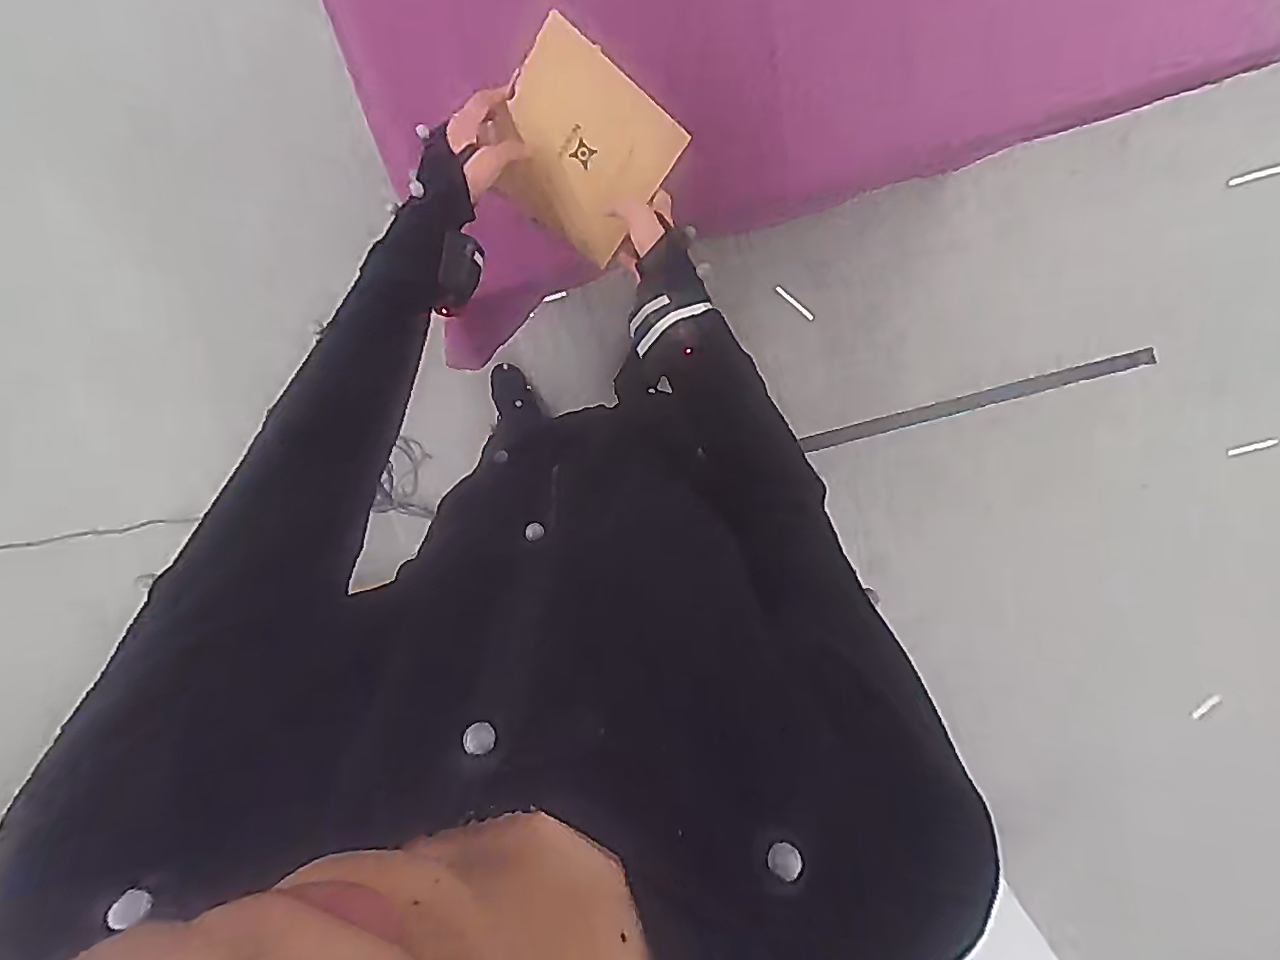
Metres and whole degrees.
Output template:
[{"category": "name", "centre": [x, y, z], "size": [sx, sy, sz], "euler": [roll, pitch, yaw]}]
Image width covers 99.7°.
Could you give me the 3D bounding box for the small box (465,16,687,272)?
[{"category": "small box", "centre": [-0.071, -0.372, 0.633], "size": [0.179, 0.176, 0.168], "euler": [33, 110, -19]}]
